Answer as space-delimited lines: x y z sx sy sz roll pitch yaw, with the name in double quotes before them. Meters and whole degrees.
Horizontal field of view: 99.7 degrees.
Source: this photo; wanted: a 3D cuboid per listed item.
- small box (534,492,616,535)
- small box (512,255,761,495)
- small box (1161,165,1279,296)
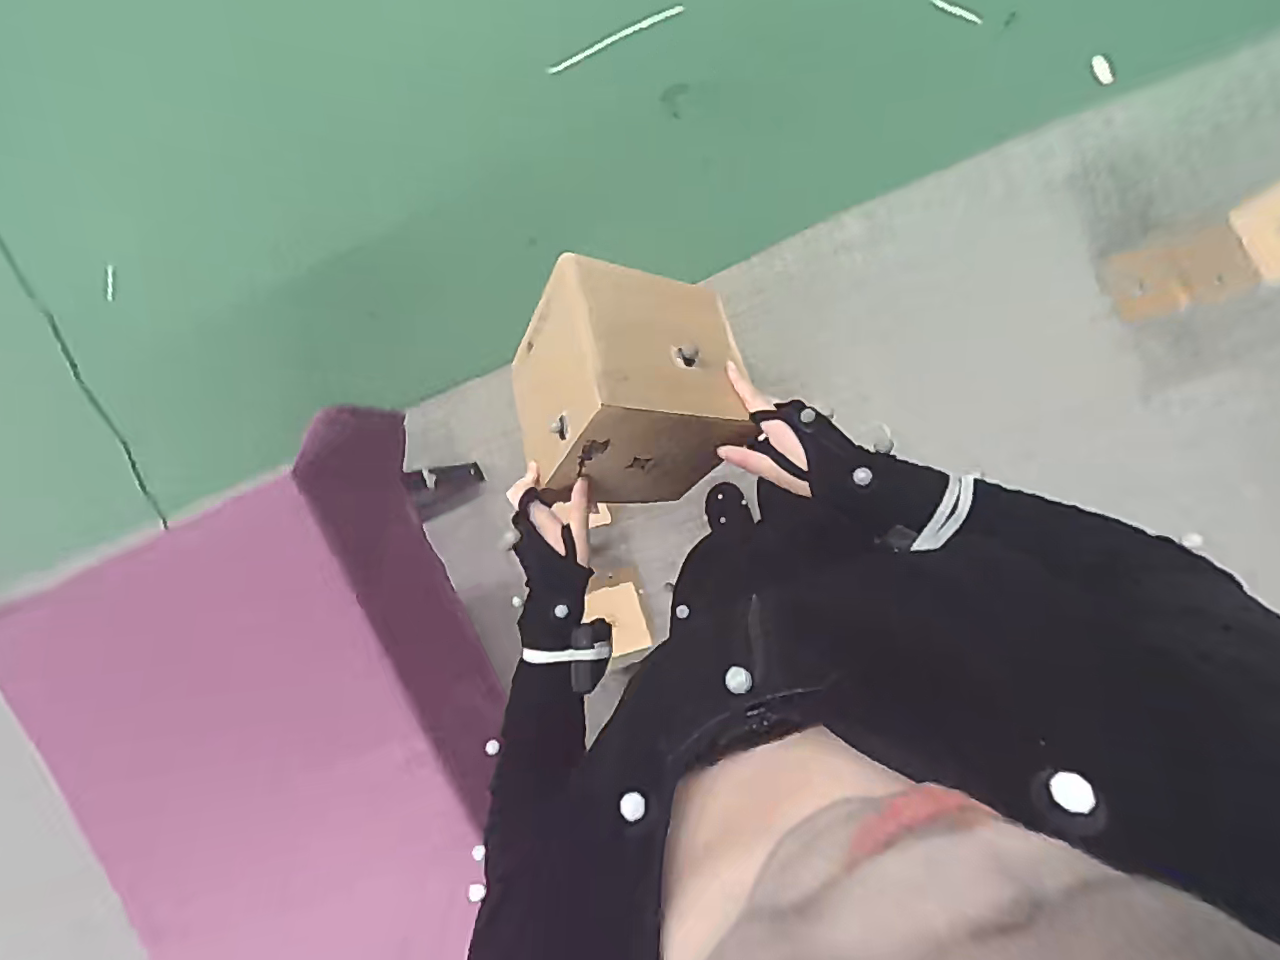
"small box" -0.165 0.034 1.416 0.179 0.176 0.168 -14 92 7
"small box" -0.015 -0.095 0.545 0.179 0.168 0.176 2 61 -31
"small box" 1.213 -0.499 1.083 0.179 0.176 0.168 -33 91 6
